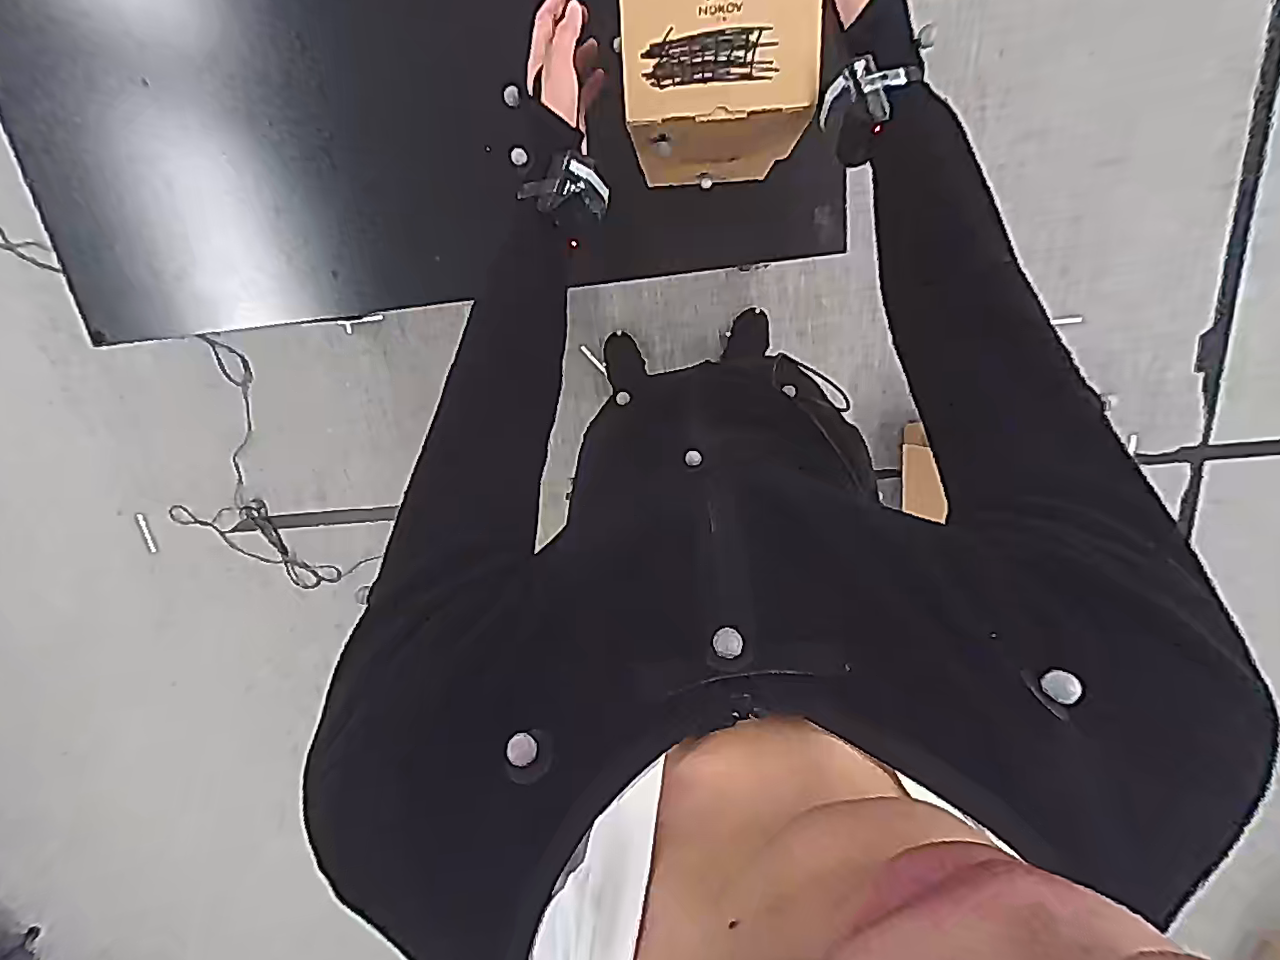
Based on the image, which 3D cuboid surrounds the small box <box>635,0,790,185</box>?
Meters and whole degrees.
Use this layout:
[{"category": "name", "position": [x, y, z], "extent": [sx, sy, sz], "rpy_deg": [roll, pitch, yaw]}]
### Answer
[{"category": "small box", "position": [0.082, -0.478, 0.659], "extent": [0.168, 0.176, 0.179], "rpy_deg": [-1, 108, 5]}]
